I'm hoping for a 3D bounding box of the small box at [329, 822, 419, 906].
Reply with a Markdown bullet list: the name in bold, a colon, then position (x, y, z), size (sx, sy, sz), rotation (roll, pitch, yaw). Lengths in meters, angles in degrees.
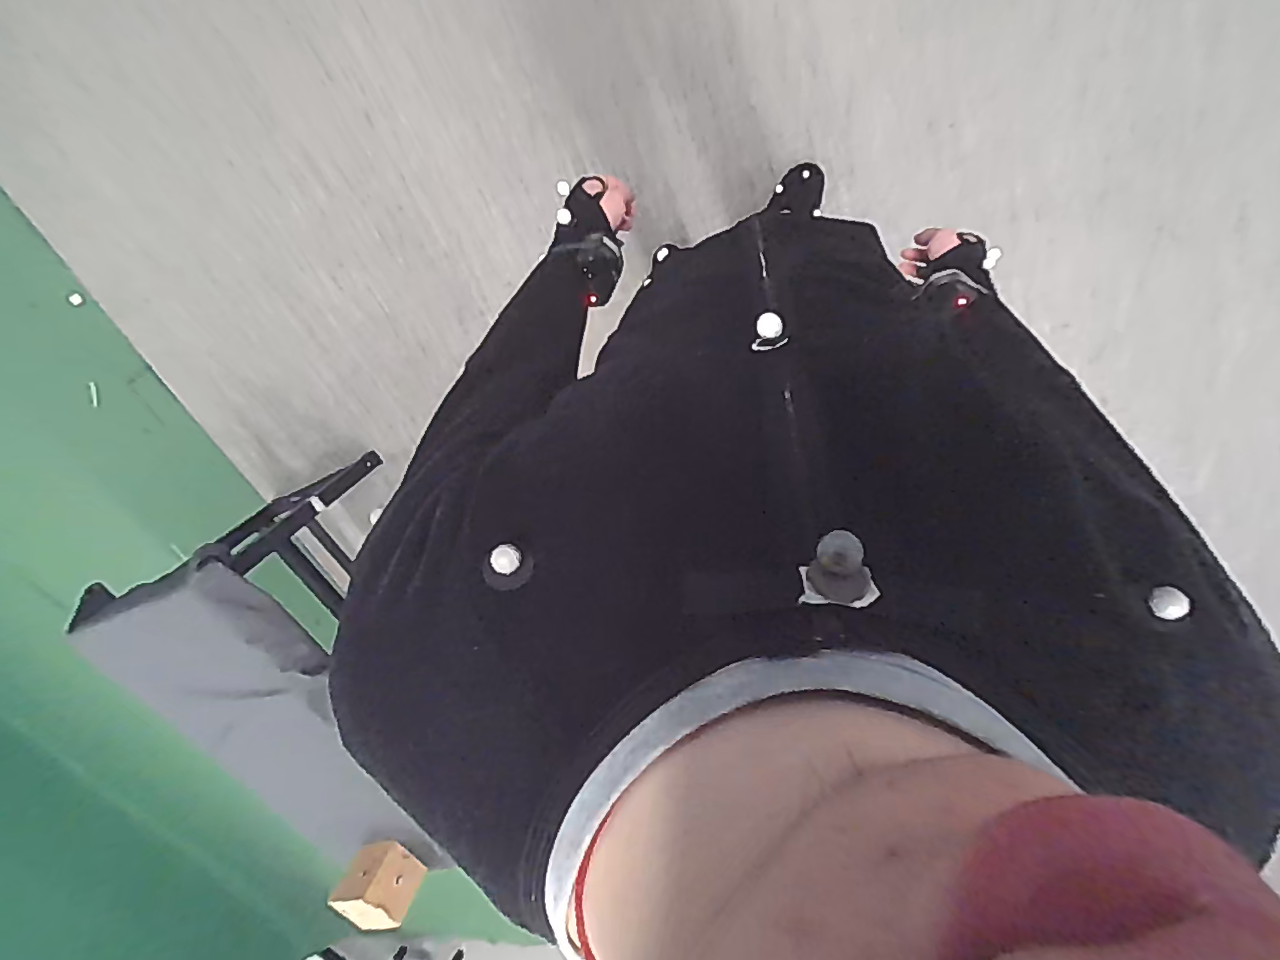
- **small box**: position (-0.845, 1.236, 1.745), size (0.179, 0.176, 0.168), rotation (-23, 113, 23)
